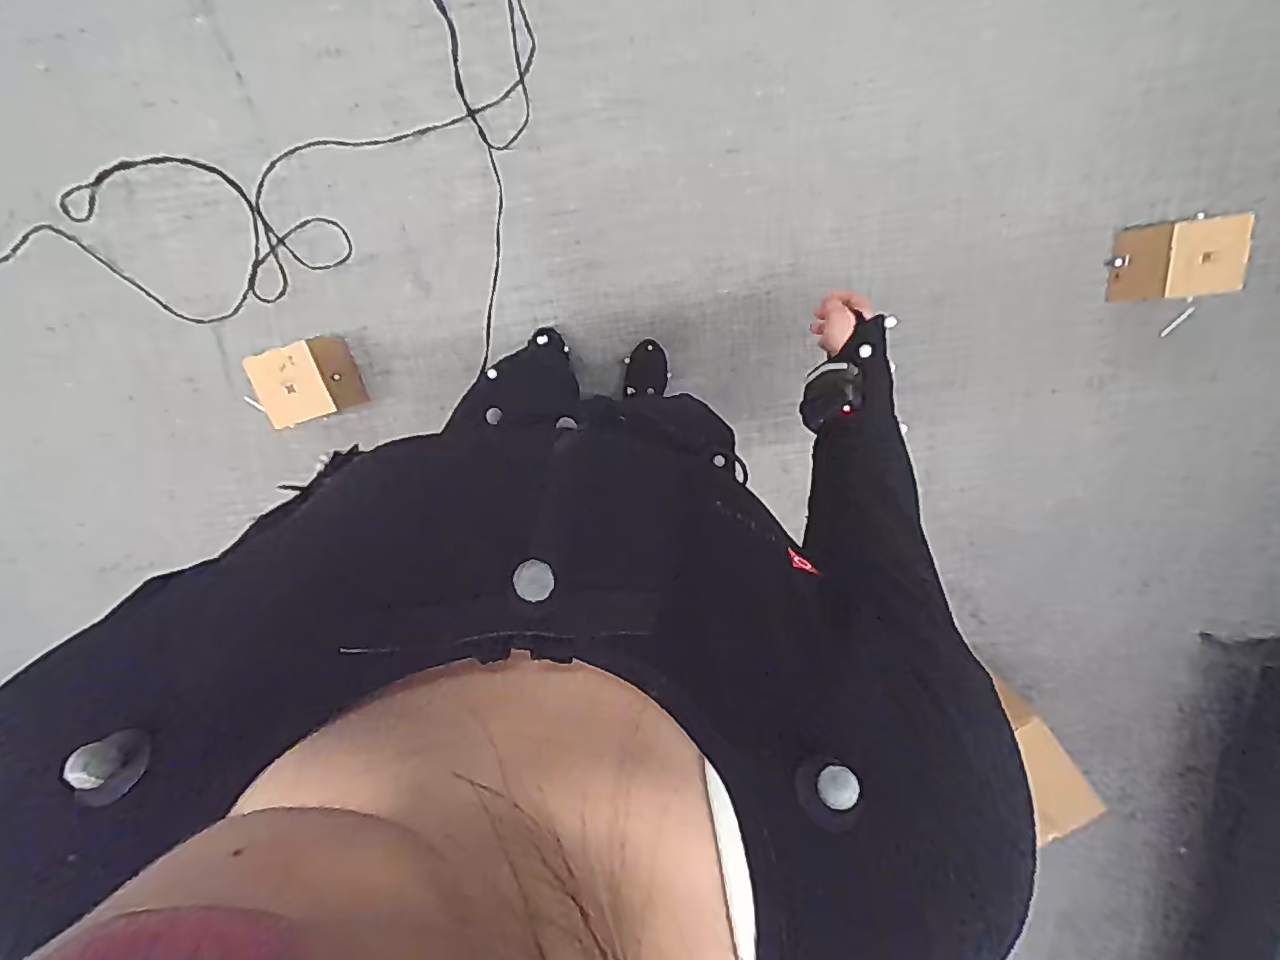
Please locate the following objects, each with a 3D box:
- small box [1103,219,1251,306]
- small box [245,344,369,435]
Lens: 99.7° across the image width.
[{"bbox_3d":[1.278,-0.515,1.299,0.179,0.176,0.168,-7,105,3],"label":"small box"},{"bbox_3d":[-0.813,-0.230,1.342,0.168,0.176,0.179,-16,106,4],"label":"small box"}]
